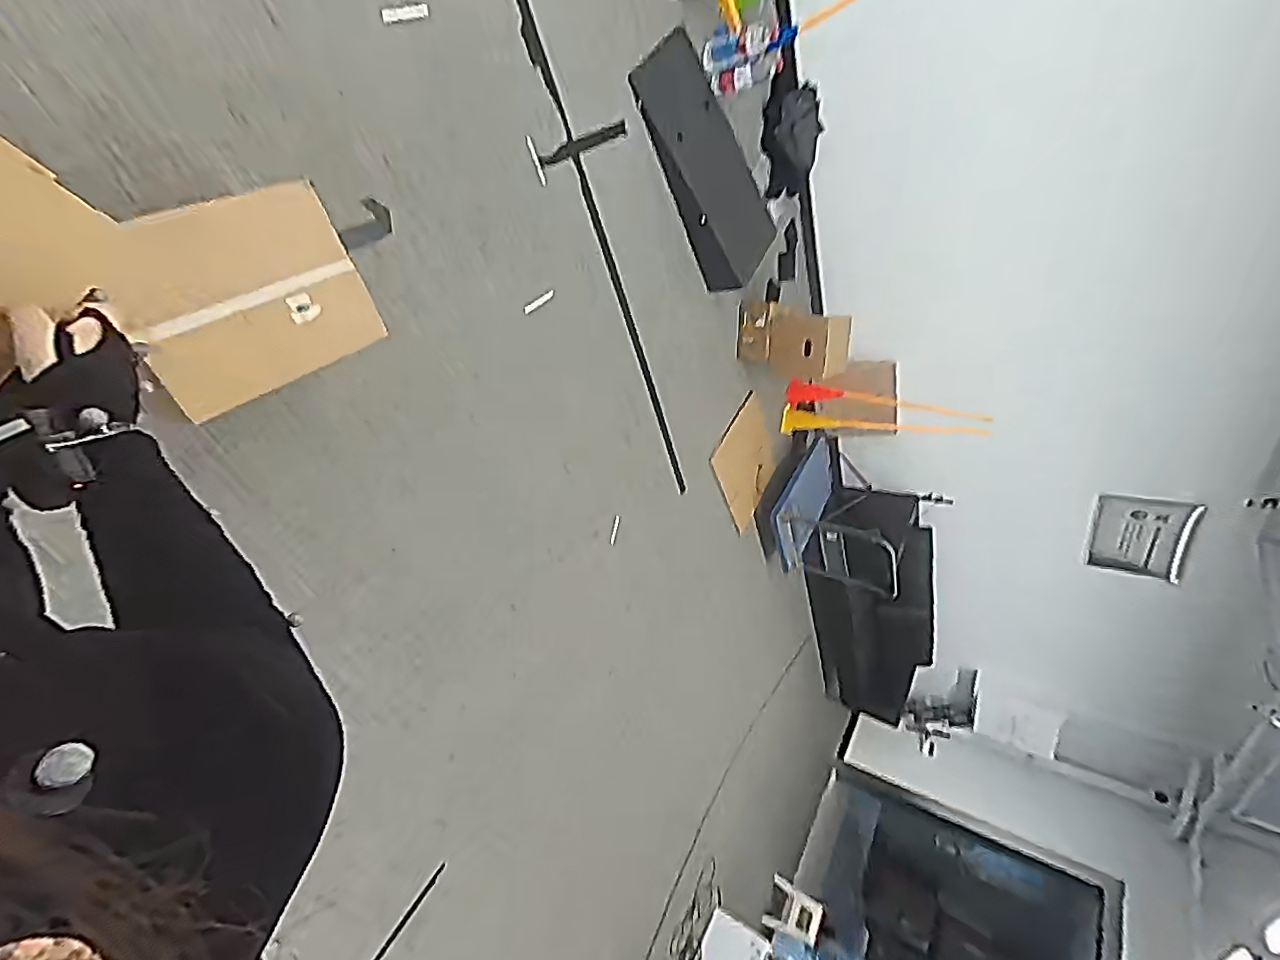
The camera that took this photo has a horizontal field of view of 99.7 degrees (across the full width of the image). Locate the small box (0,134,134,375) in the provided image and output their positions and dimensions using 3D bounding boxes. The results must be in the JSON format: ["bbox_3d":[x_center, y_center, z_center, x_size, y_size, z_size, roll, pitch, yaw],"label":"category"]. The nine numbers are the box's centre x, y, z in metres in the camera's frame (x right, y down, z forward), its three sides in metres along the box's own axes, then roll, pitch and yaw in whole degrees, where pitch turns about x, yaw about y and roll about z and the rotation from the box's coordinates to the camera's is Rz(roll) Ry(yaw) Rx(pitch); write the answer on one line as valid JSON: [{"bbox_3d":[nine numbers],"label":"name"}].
[{"bbox_3d":[-0.575,-0.187,0.430,0.168,0.176,0.179,45,56,-47],"label":"small box"}]

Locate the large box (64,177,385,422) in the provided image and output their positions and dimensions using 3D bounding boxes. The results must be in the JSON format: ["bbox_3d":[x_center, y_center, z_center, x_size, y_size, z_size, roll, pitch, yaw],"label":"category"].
[{"bbox_3d":[-0.814,-0.351,1.058,0.408,0.320,0.320,-46,133,-38],"label":"large box"}]
